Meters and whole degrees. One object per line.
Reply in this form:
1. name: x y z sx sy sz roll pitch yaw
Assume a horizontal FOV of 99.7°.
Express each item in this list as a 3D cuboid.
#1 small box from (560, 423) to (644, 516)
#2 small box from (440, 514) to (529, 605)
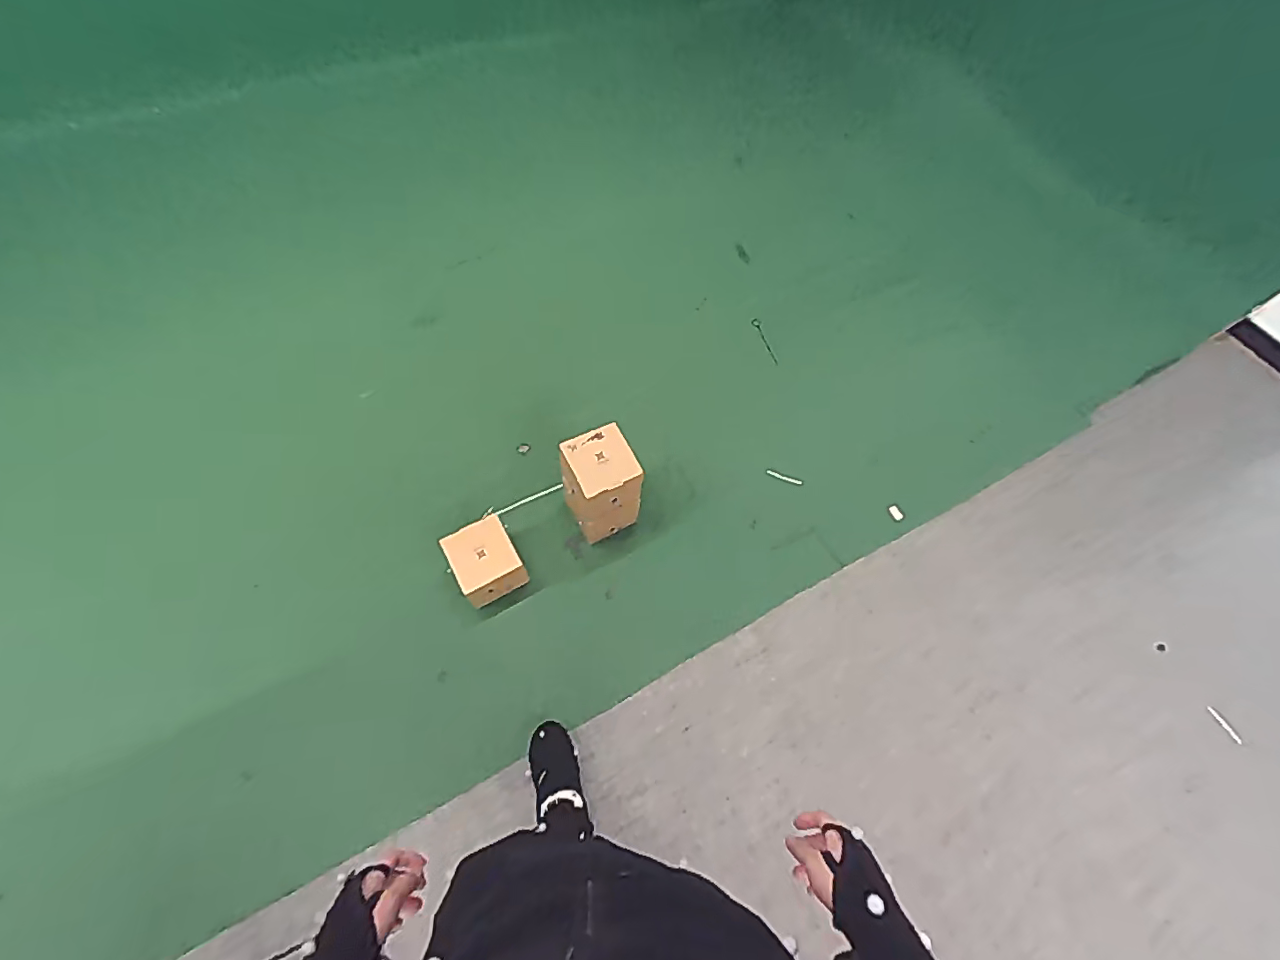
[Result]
1. small box: -0.104 -0.019 1.463 0.168 0.176 0.179 -23 69 -16
2. small box: -0.424 0.229 1.501 0.168 0.176 0.179 -27 68 -16
